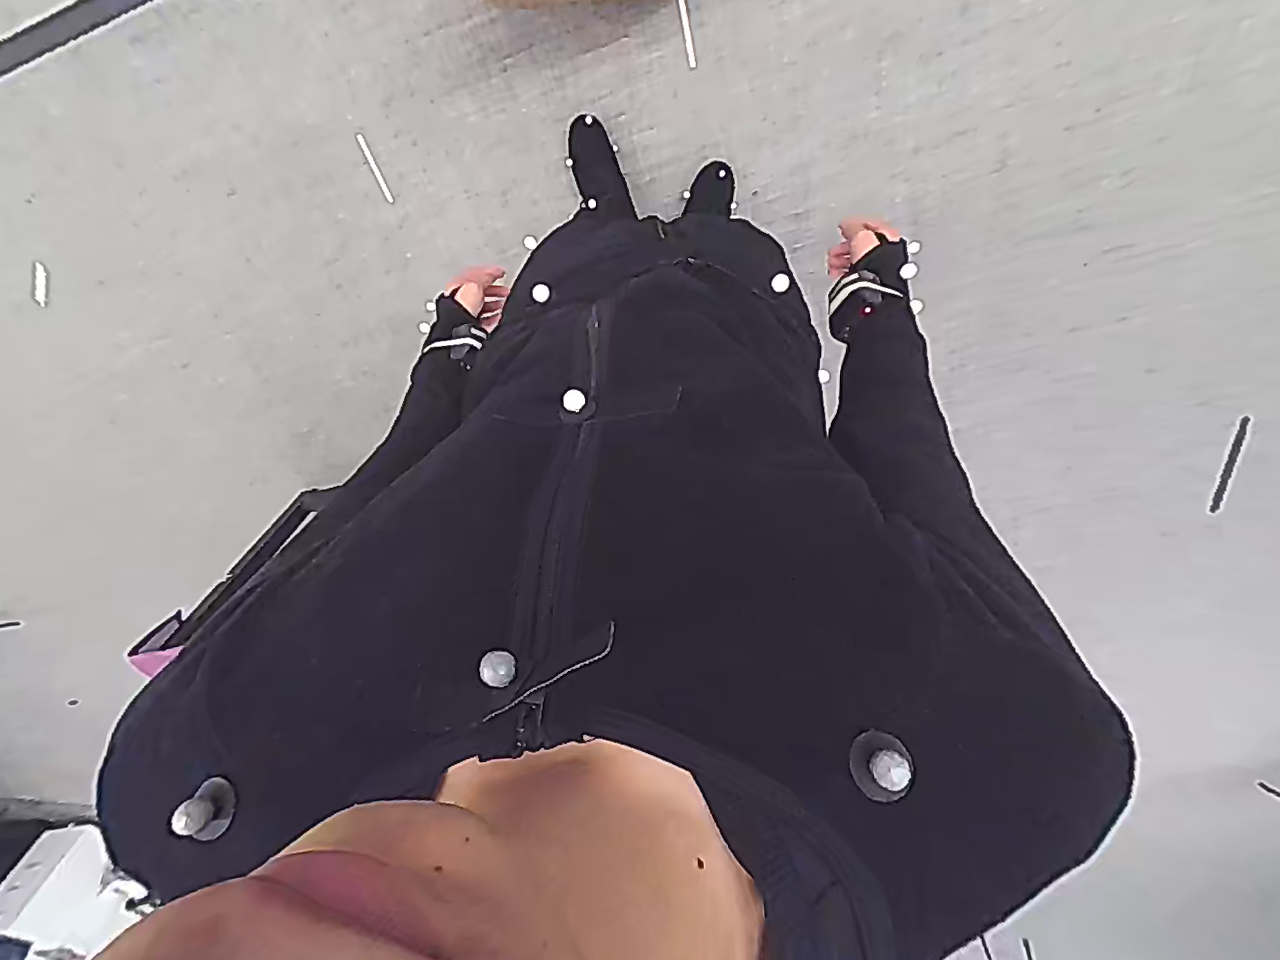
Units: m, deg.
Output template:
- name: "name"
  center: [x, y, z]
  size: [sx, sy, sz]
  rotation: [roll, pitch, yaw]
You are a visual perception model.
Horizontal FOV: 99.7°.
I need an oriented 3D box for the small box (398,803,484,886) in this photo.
- name: "small box"
  center: [-0.618, 1.150, 1.714]
  size: [0.179, 0.176, 0.168]
  rotation: [-23, 121, 18]
